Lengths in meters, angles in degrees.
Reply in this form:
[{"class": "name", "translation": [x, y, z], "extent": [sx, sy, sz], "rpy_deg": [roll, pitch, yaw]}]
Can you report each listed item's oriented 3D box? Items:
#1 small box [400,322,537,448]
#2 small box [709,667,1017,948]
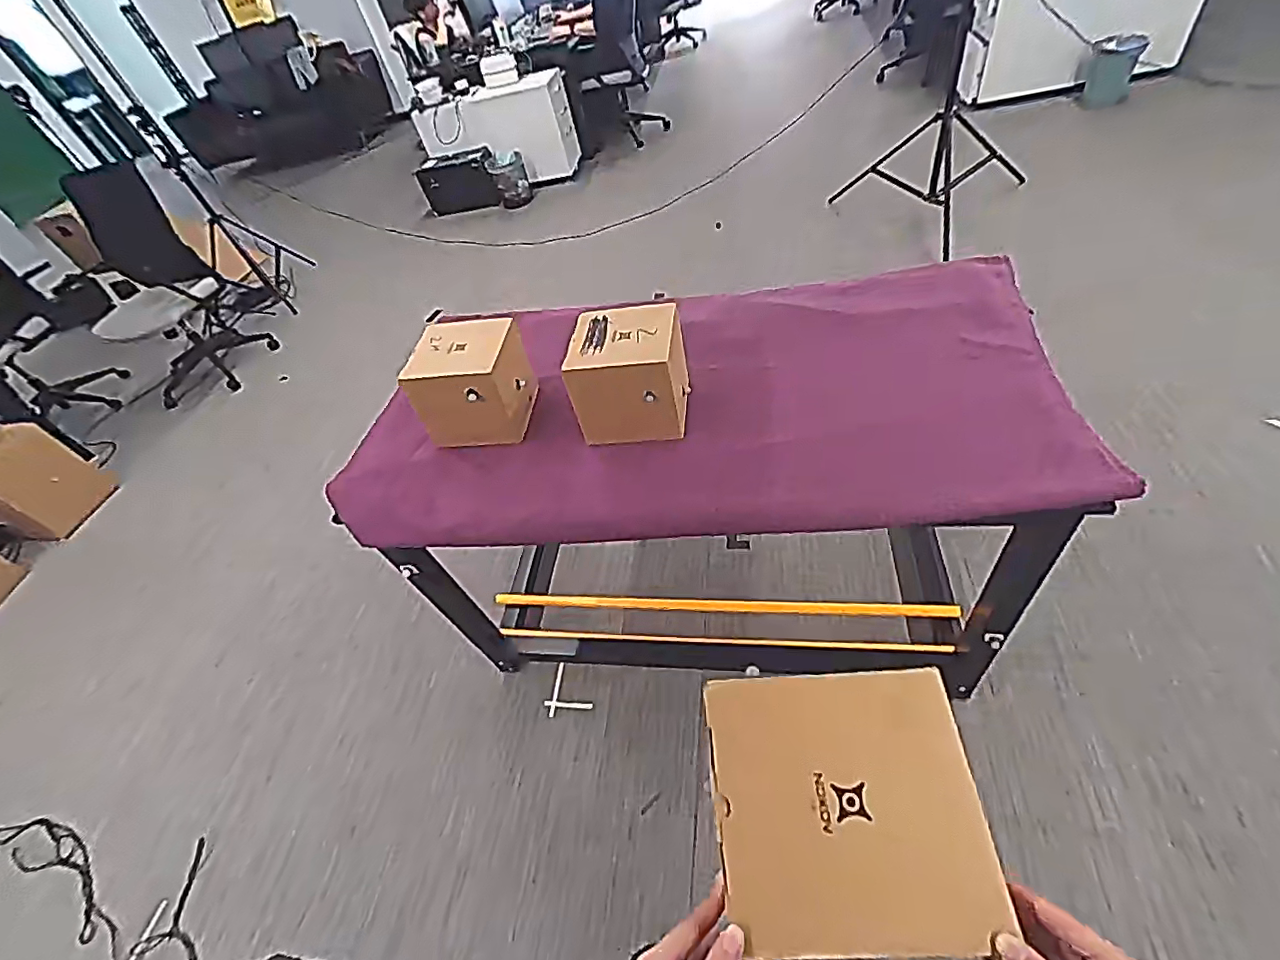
[{"class": "small box", "translation": [-0.310, -0.175, 1.023], "extent": [0.179, 0.176, 0.168], "rpy_deg": [-2, 48, 10]}, {"class": "small box", "translation": [0.152, 0.257, 0.442], "extent": [0.179, 0.176, 0.168], "rpy_deg": [-7, 59, 7]}]
